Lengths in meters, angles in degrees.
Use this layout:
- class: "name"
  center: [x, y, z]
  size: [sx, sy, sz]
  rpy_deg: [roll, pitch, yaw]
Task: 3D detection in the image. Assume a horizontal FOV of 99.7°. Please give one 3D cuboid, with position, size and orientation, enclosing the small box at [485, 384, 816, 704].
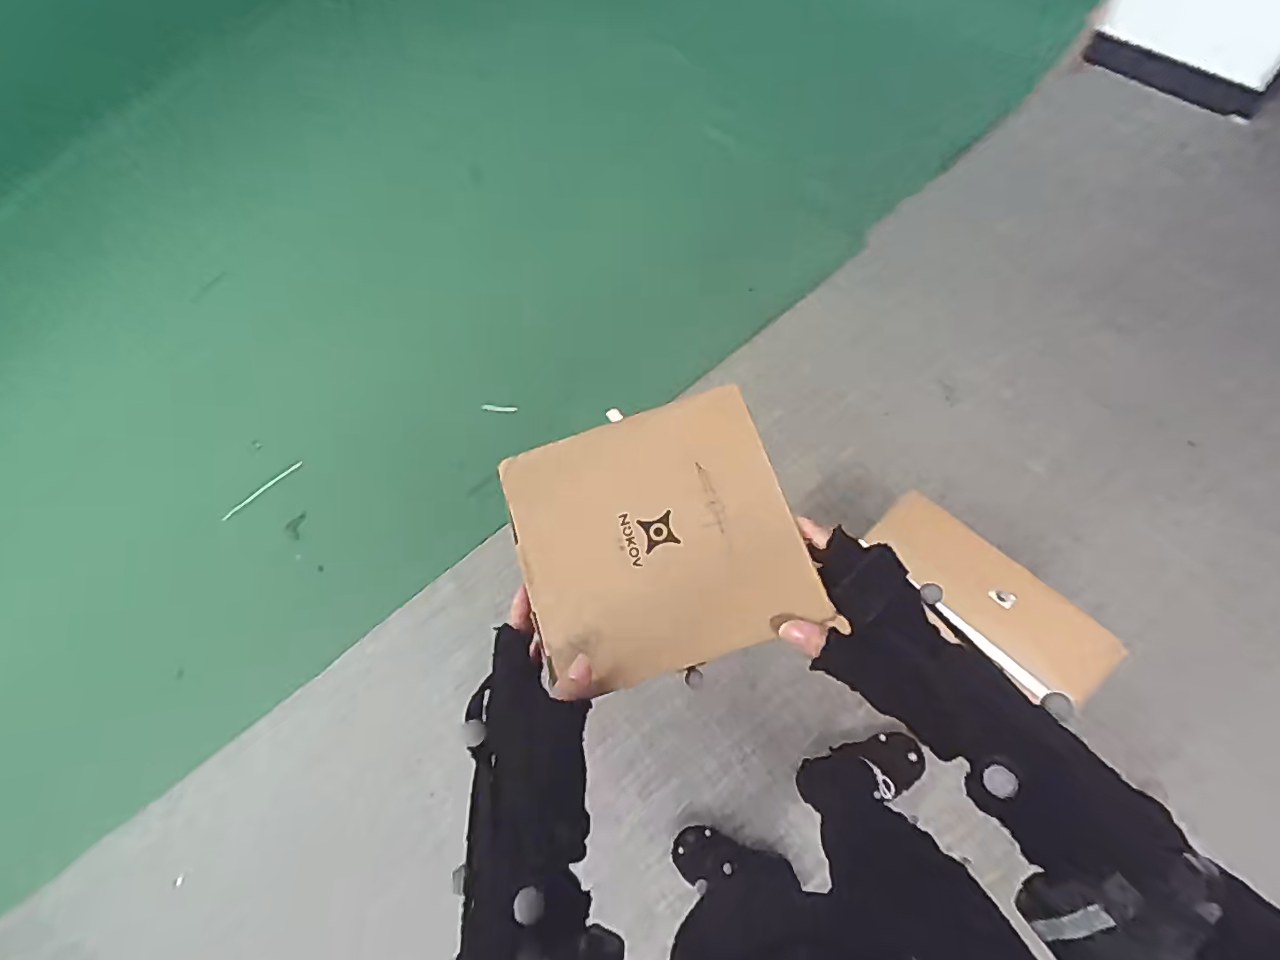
- class: "small box"
  center: [0.007, 0.057, 0.418]
  size: [0.179, 0.176, 0.168]
  rpy_deg: [-19, 73, -1]
